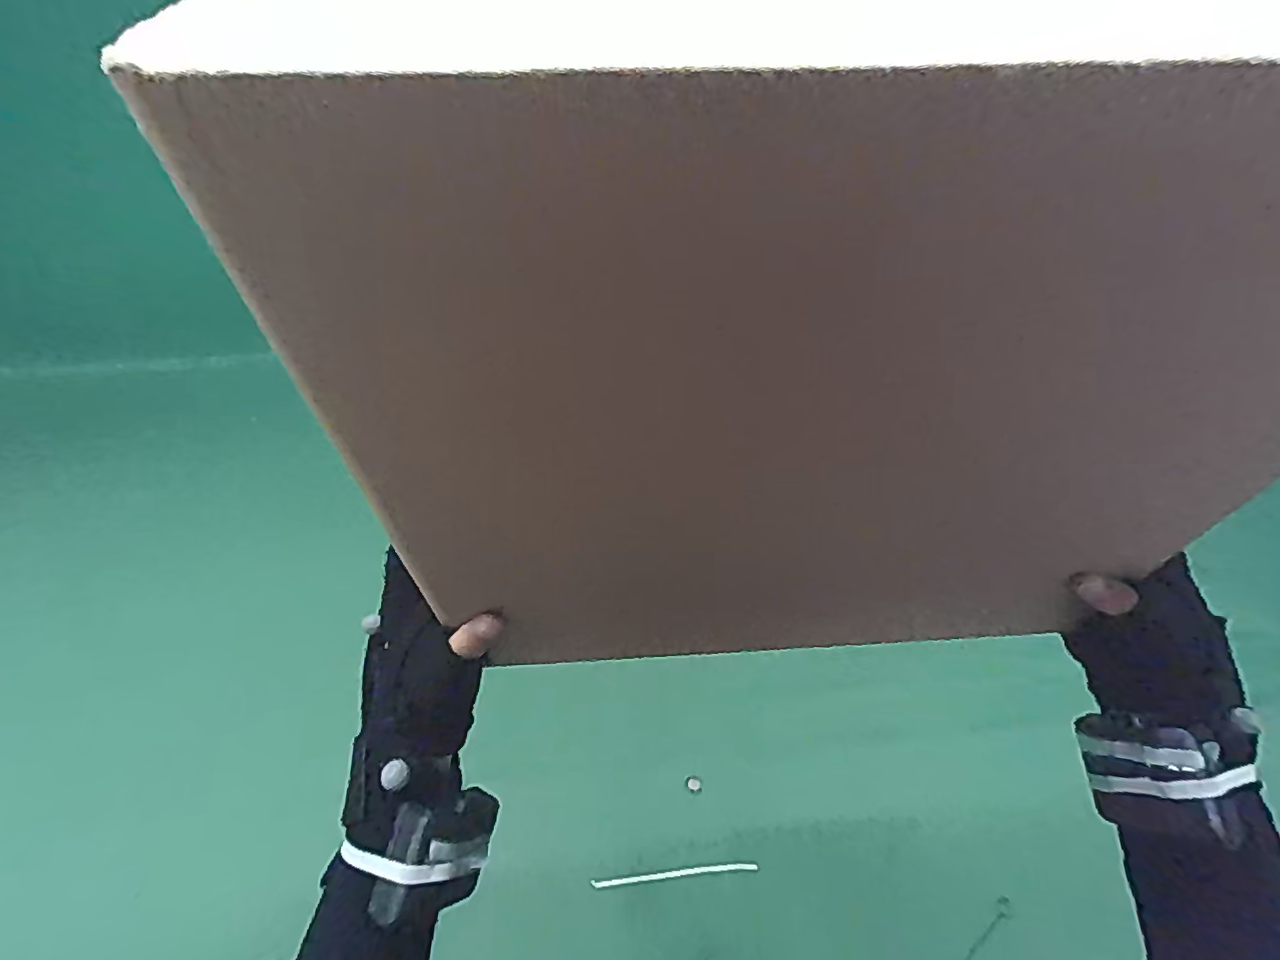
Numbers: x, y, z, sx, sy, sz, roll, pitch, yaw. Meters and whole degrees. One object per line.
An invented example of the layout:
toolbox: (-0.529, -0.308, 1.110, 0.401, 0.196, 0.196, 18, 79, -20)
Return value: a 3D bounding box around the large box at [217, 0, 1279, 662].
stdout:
large box: (0.083, -0.107, 0.342, 0.408, 0.320, 0.320, -3, 50, -4)
